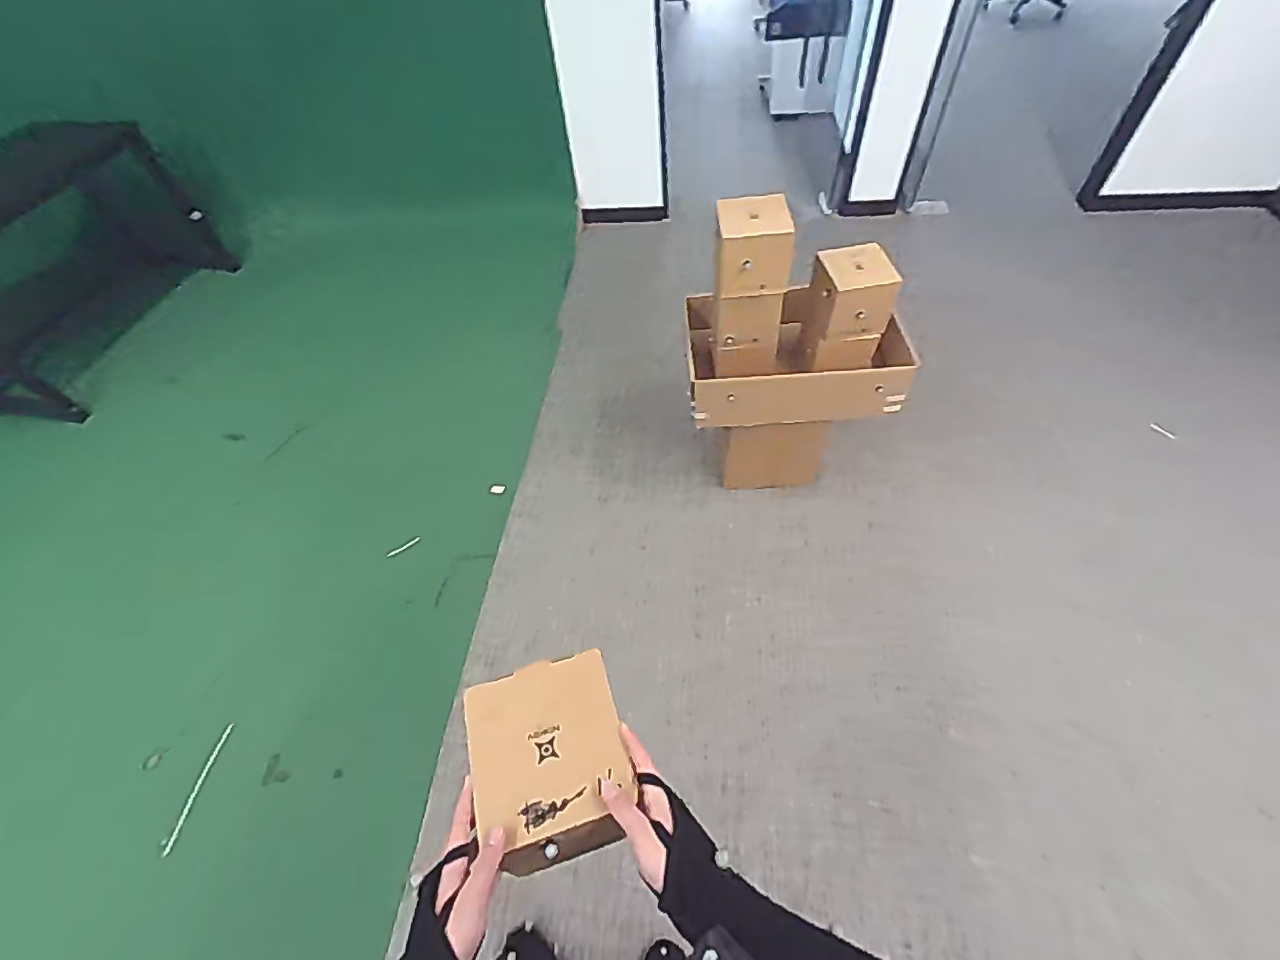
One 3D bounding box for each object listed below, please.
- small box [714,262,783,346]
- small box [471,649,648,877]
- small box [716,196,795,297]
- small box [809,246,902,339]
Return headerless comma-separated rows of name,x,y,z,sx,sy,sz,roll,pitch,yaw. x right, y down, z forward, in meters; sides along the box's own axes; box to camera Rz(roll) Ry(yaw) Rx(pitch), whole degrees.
small box,0.288,-0.478,1.469,0.168,0.176,0.179,-2,53,5
small box,-0.092,0.333,0.636,0.168,0.176,0.179,-14,50,-9
small box,0.277,-0.569,1.335,0.168,0.176,0.179,-4,53,4
small box,0.569,-0.495,1.452,0.168,0.176,0.179,-8,55,-1
